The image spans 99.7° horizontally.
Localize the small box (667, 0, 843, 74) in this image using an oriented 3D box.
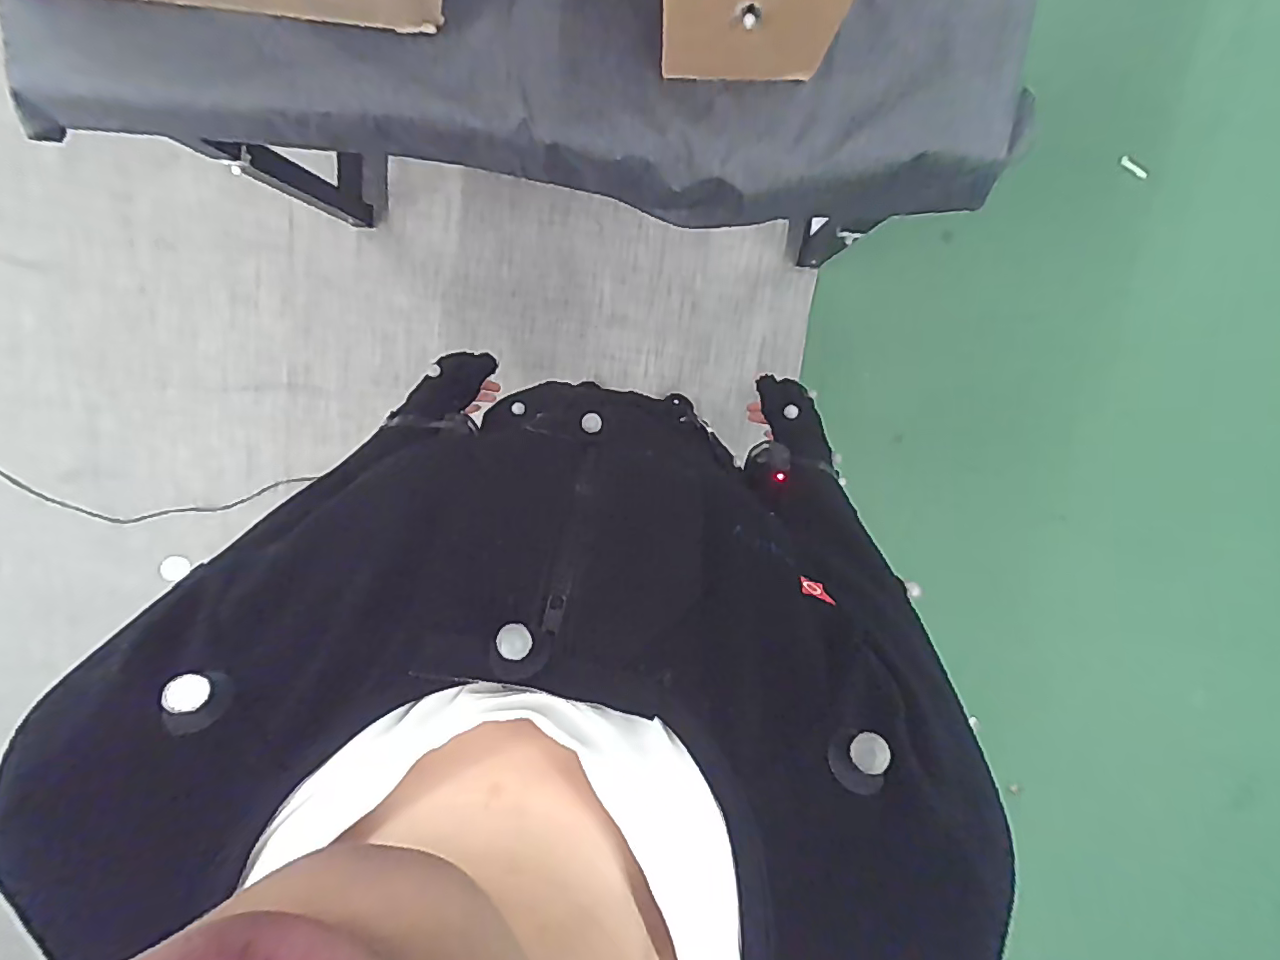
[{"bbox_3d":[0.118,-0.542,0.541,0.179,0.176,0.168,2,102,1],"label":"small box"}]
